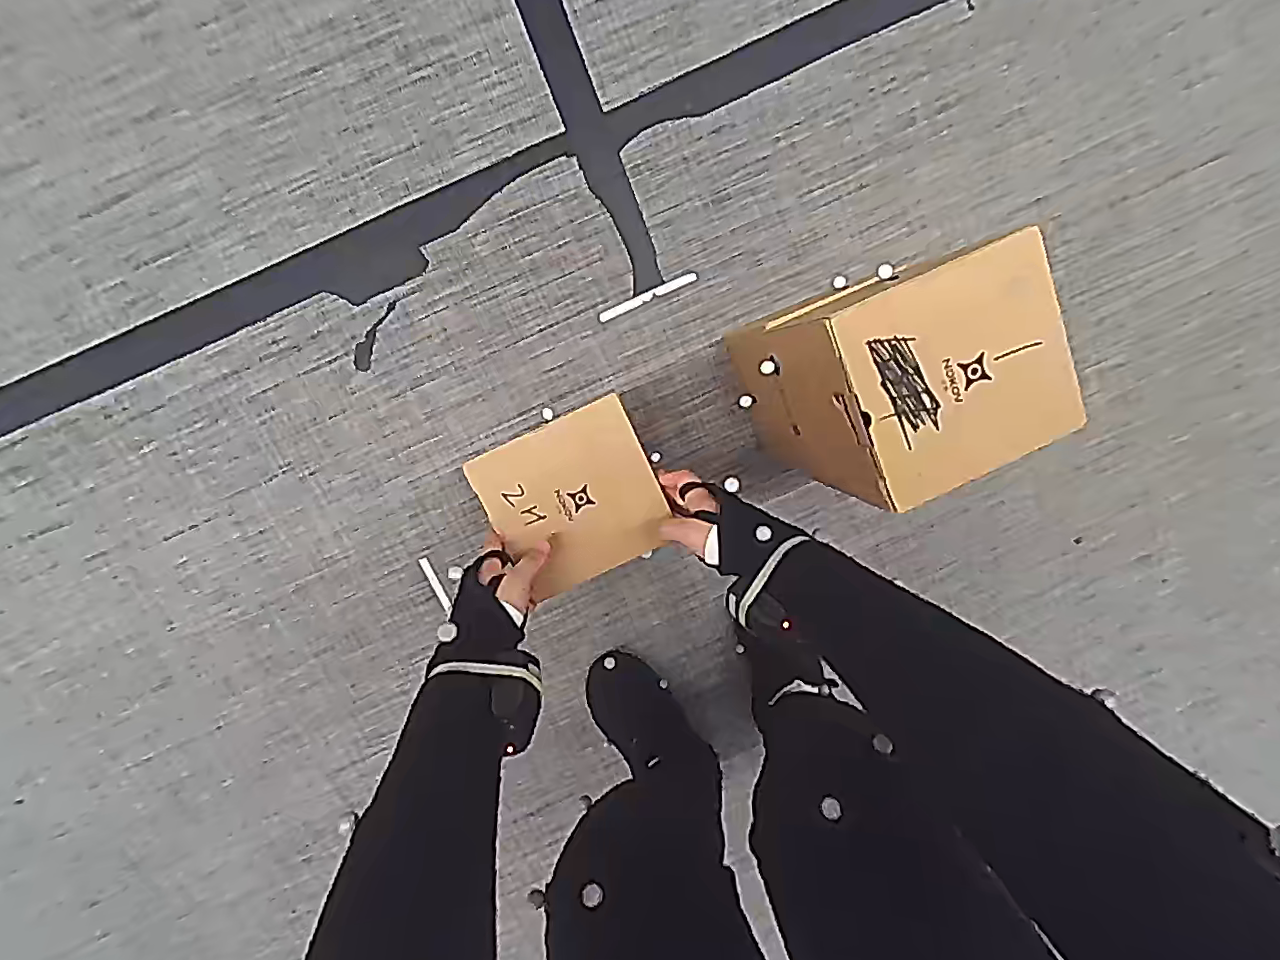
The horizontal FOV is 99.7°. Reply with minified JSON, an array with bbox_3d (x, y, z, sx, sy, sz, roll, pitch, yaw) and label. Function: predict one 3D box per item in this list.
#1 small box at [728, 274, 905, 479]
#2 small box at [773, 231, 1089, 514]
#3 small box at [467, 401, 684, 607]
[{"bbox_3d":[0.225,-0.124,0.651,0.168,0.176,0.179,-23,104,-2],"label":"small box"},{"bbox_3d":[0.238,-0.091,0.489,0.179,0.176,0.168,-25,103,-2],"label":"small box"},{"bbox_3d":[-0.068,0.013,0.630,0.179,0.176,0.168,-25,99,2],"label":"small box"}]
